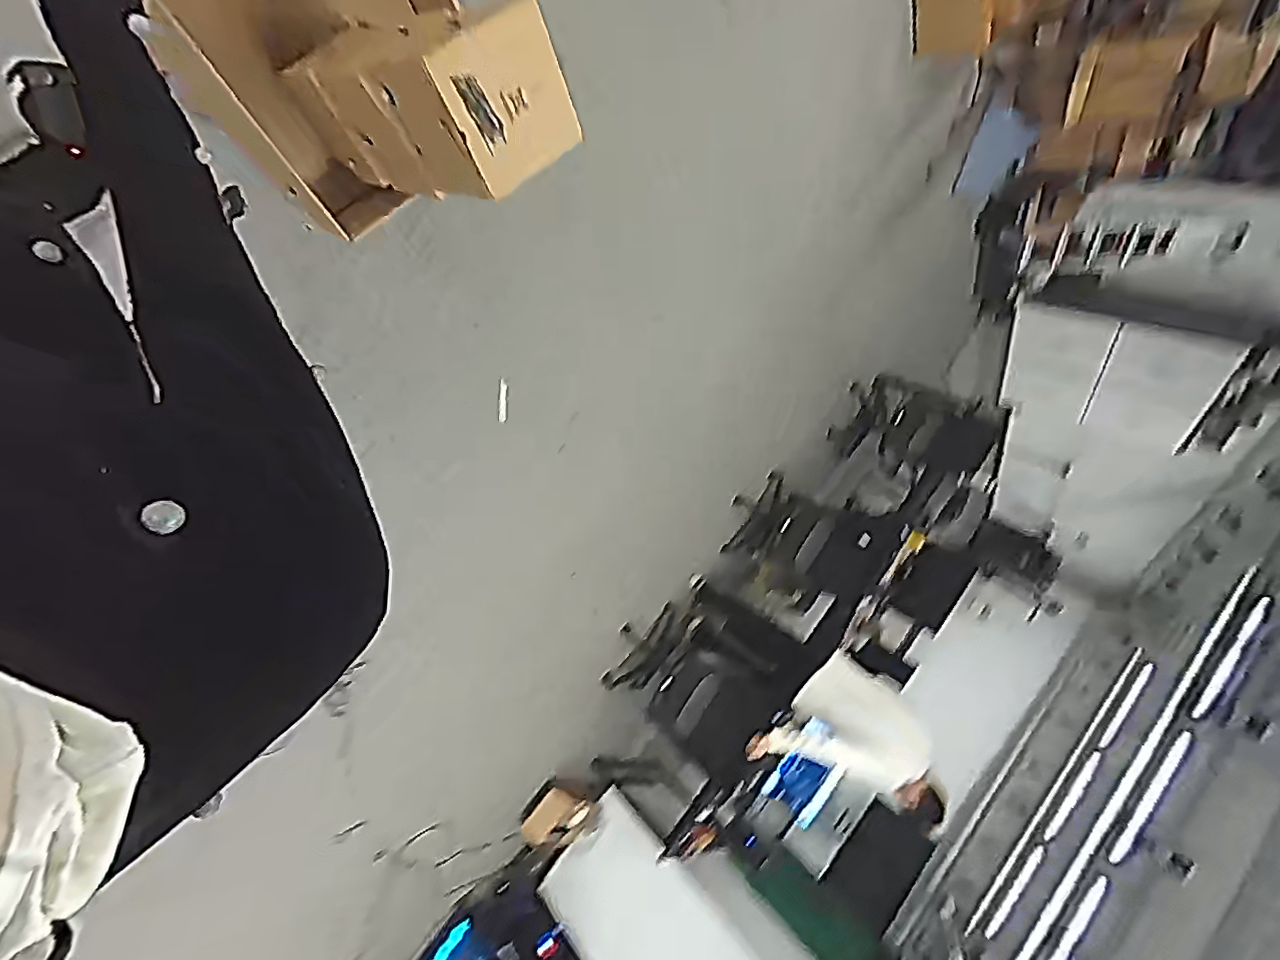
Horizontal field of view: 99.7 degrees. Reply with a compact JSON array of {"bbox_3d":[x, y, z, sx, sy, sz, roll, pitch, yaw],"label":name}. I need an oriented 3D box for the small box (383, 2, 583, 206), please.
[{"bbox_3d":[-0.215,-0.499,0.729,0.179,0.176,0.168,-46,142,-17],"label":"small box"}]

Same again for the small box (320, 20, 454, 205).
[{"bbox_3d":[-0.338,-0.557,0.824,0.168,0.176,0.179,-48,143,-14],"label":"small box"}]
